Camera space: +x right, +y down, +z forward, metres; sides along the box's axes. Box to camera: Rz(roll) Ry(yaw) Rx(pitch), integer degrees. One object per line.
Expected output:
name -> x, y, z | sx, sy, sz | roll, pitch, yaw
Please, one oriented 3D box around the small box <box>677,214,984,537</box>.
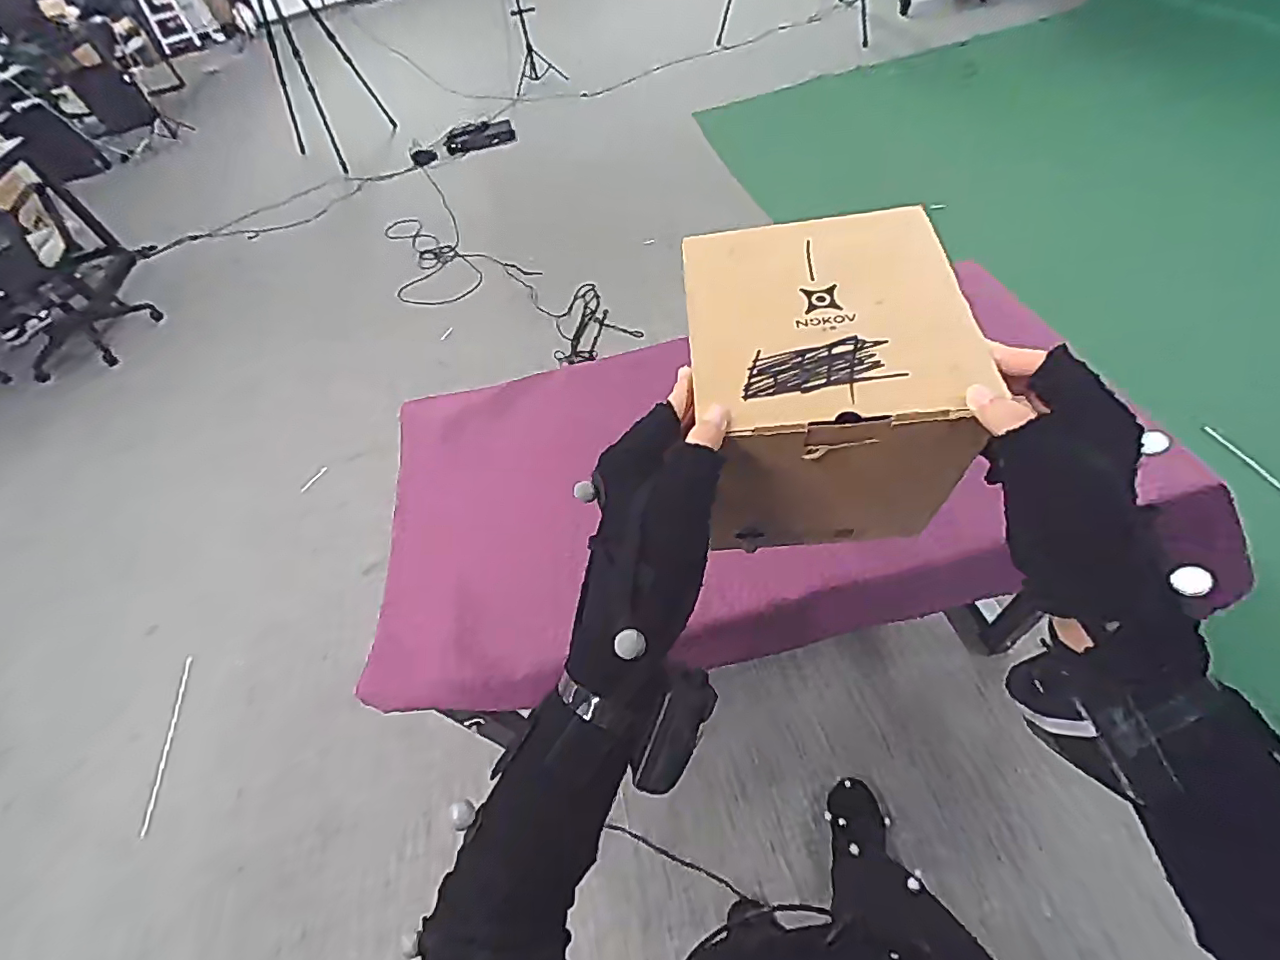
small box -> 0.120, -0.065, 0.413 | 0.168, 0.176, 0.179 | -5, 58, 7
